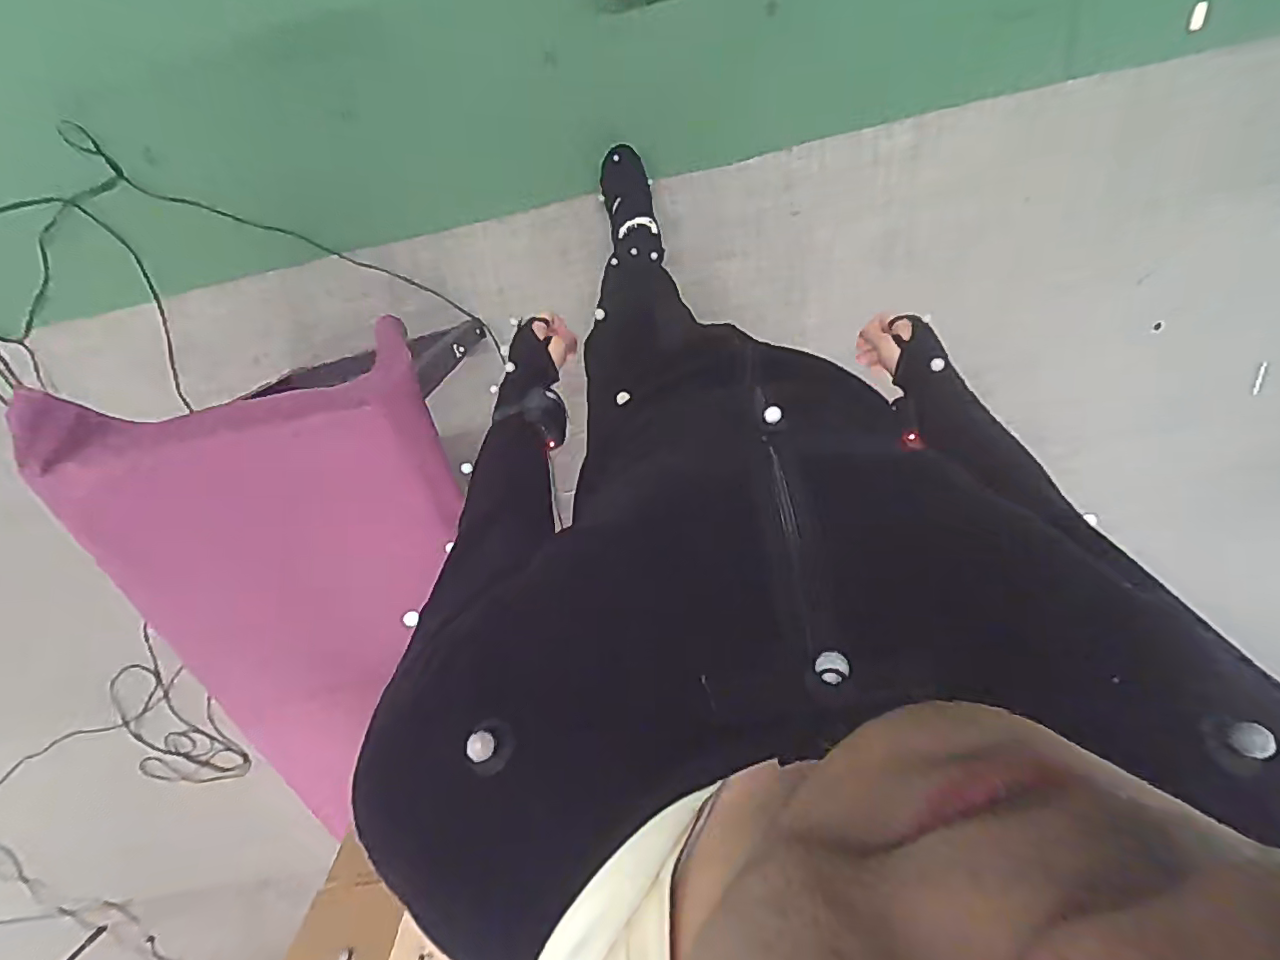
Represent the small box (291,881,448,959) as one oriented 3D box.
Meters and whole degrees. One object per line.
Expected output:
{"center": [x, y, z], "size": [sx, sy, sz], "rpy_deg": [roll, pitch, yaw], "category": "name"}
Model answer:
{"center": [-0.406, 0.732, 0.802], "size": [0.179, 0.176, 0.168], "rpy_deg": [-13, 115, 6], "category": "small box"}
